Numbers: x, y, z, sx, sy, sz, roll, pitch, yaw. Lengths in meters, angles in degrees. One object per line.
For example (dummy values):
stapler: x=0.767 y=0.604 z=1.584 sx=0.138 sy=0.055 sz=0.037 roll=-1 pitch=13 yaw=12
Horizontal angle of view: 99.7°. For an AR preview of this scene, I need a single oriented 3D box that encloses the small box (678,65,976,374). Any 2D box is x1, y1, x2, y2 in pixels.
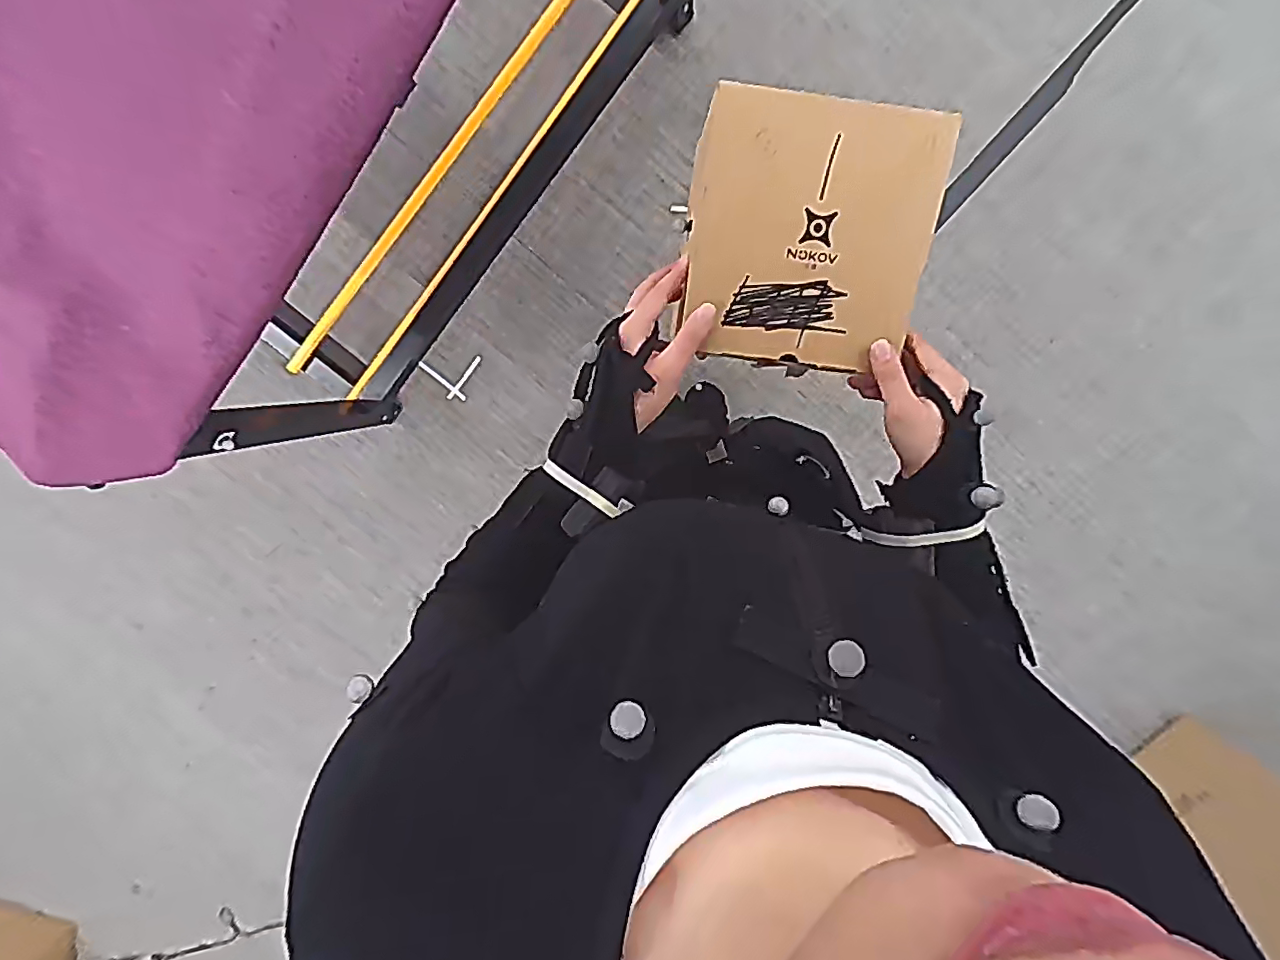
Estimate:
small box: x=0.124 y=-0.193 z=0.443 sx=0.168 sy=0.176 sz=0.179 roll=7 pitch=107 yaw=-2
